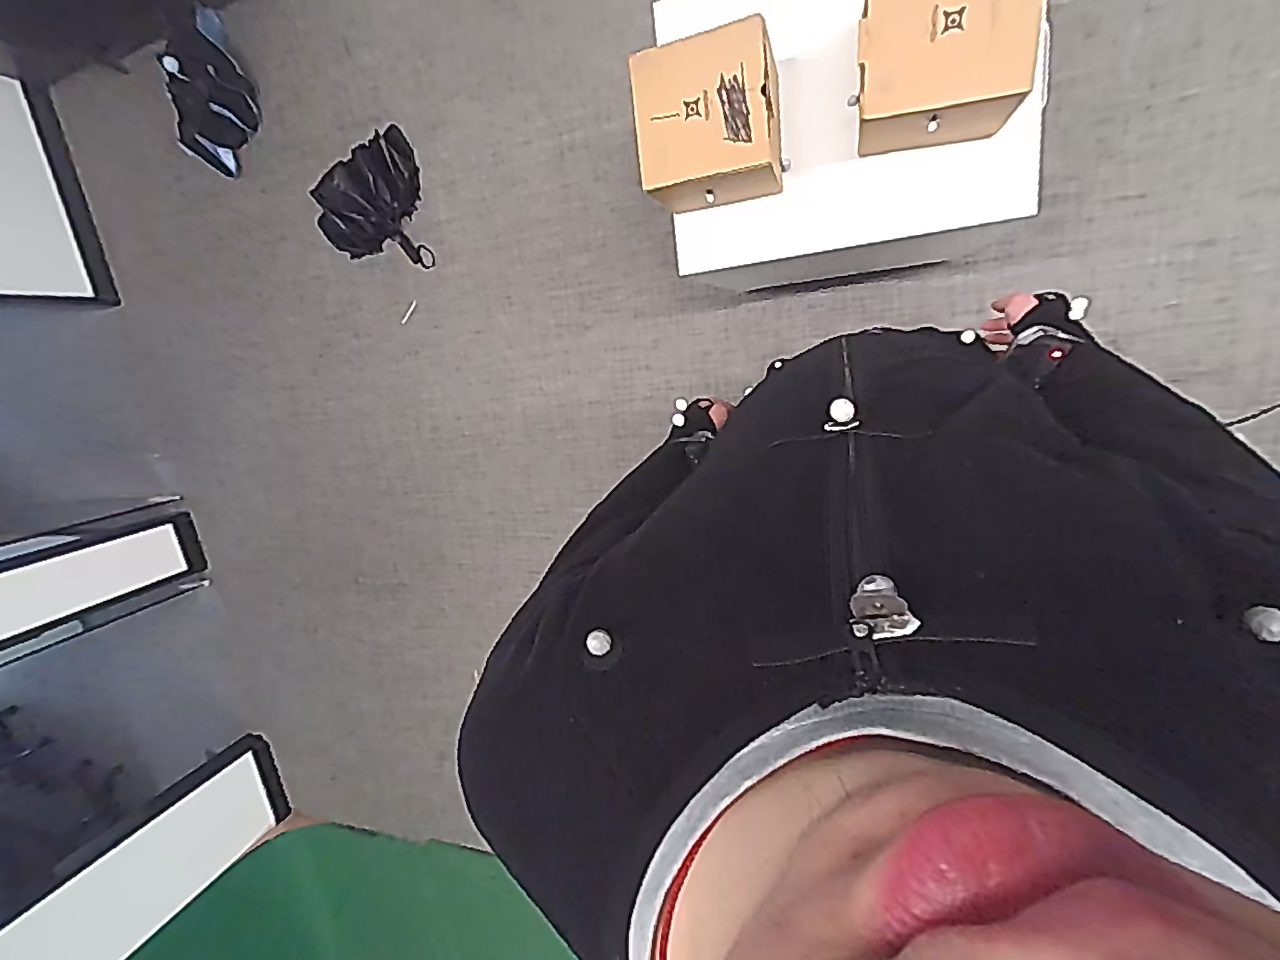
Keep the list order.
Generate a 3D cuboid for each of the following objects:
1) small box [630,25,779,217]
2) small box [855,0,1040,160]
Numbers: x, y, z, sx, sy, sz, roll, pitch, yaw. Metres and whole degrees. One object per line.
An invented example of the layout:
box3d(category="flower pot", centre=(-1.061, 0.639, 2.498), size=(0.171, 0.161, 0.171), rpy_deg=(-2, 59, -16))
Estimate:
box3d(category="small box", centre=(0.102, -0.490, 0.769), size=(0.179, 0.176, 0.168), rpy_deg=(-1, 104, 21))
box3d(category="small box", centre=(0.363, -0.516, 0.666), size=(0.179, 0.176, 0.168), rpy_deg=(2, 107, 20))
